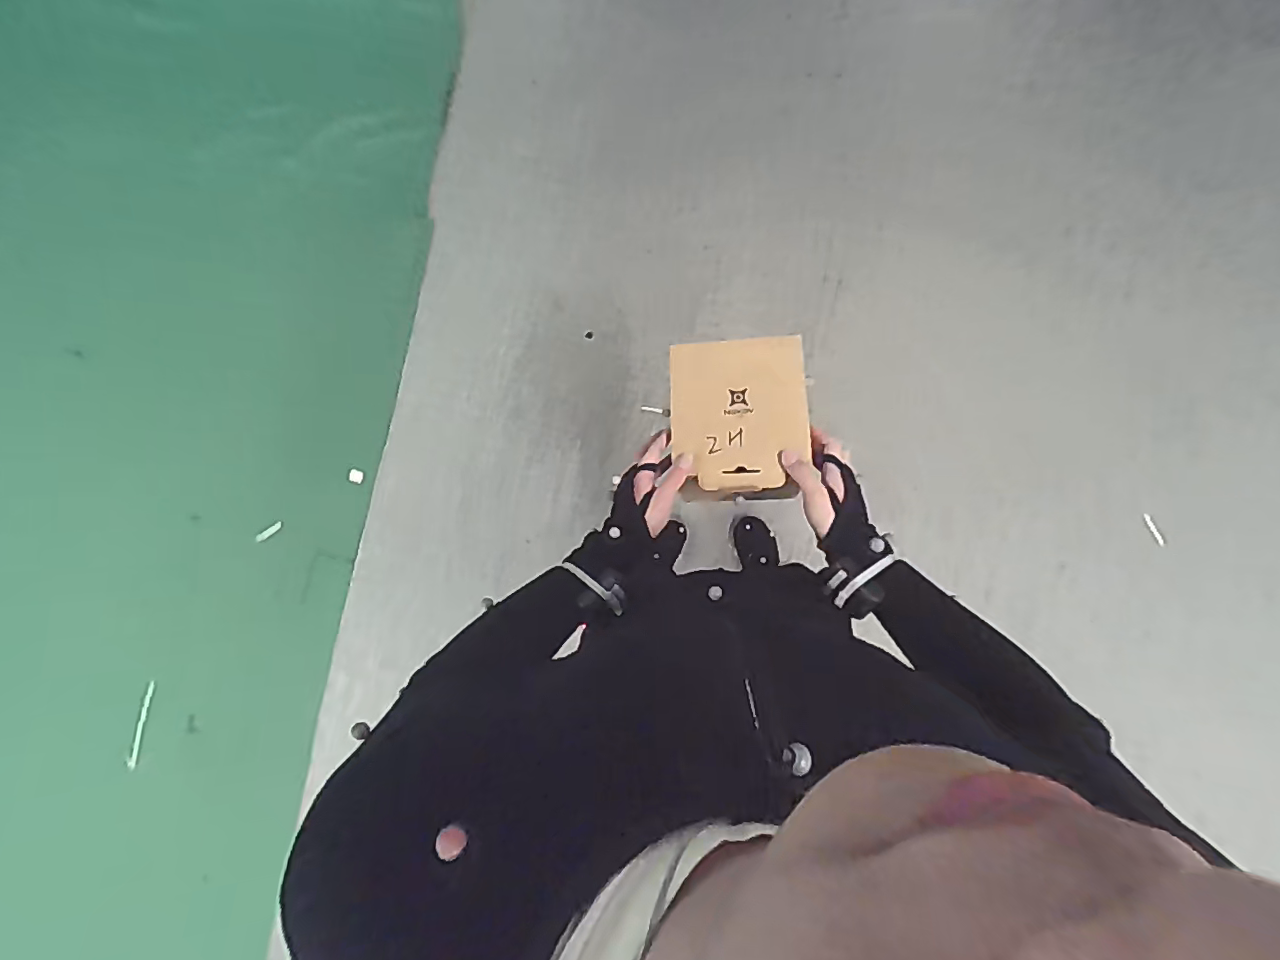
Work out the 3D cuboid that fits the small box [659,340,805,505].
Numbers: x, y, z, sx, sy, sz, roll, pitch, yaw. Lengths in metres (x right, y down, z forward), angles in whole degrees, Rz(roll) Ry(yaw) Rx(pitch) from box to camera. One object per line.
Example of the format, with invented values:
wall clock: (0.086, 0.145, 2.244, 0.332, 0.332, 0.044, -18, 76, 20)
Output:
small box: (0.126, -0.072, 0.730, 0.168, 0.176, 0.179, 3, 78, 12)
